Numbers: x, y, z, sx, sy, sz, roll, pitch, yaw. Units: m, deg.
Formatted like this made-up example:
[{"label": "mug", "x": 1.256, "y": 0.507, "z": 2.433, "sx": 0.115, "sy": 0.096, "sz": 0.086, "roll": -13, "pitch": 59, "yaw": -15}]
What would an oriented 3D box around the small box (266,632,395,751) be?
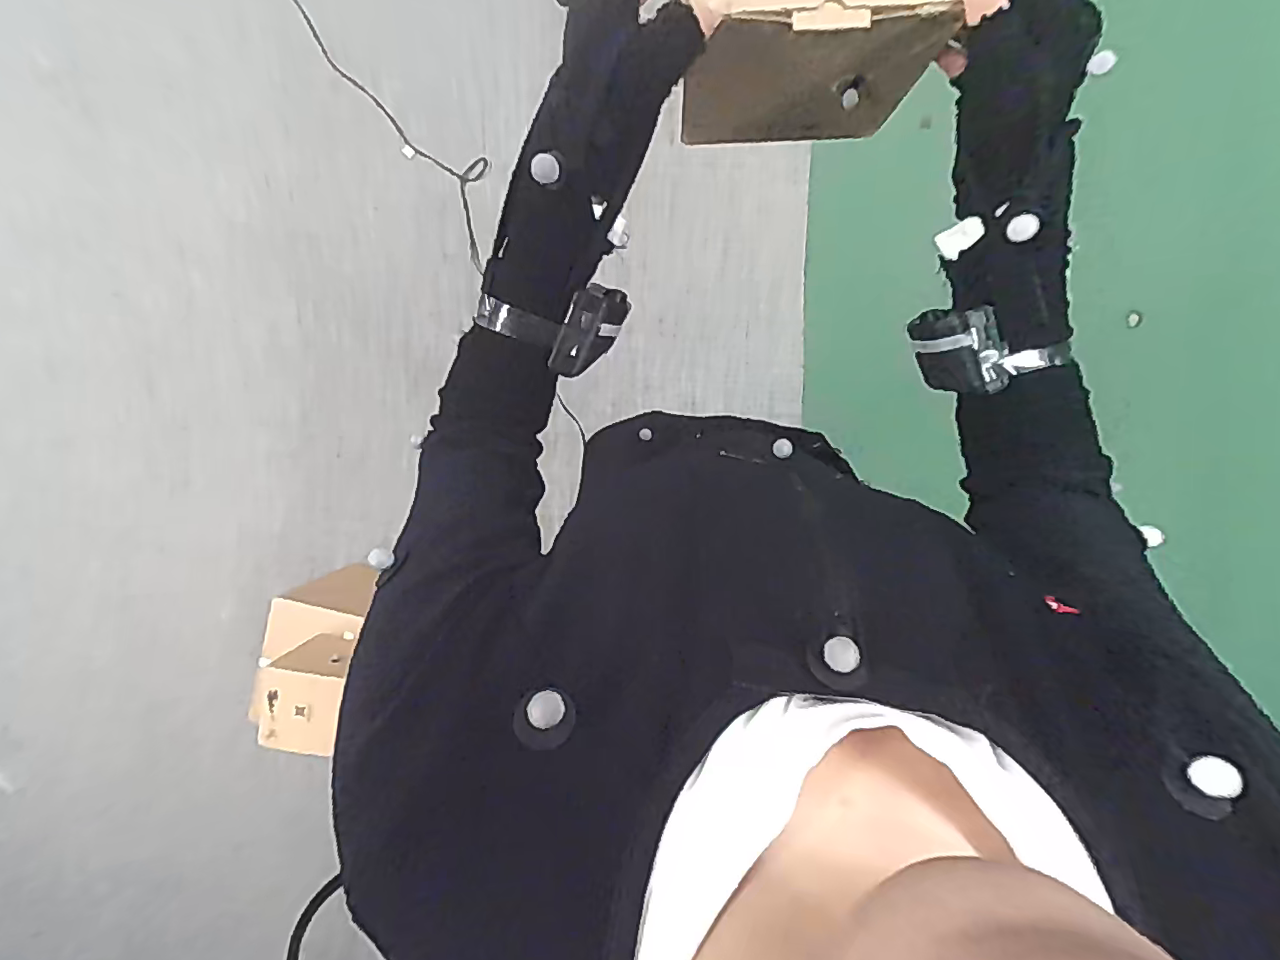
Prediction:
[{"label": "small box", "x": -0.640, "y": 0.436, "z": 1.138, "sx": 0.179, "sy": 0.176, "sz": 0.168, "roll": 8, "pitch": 96, "yaw": 1}]
